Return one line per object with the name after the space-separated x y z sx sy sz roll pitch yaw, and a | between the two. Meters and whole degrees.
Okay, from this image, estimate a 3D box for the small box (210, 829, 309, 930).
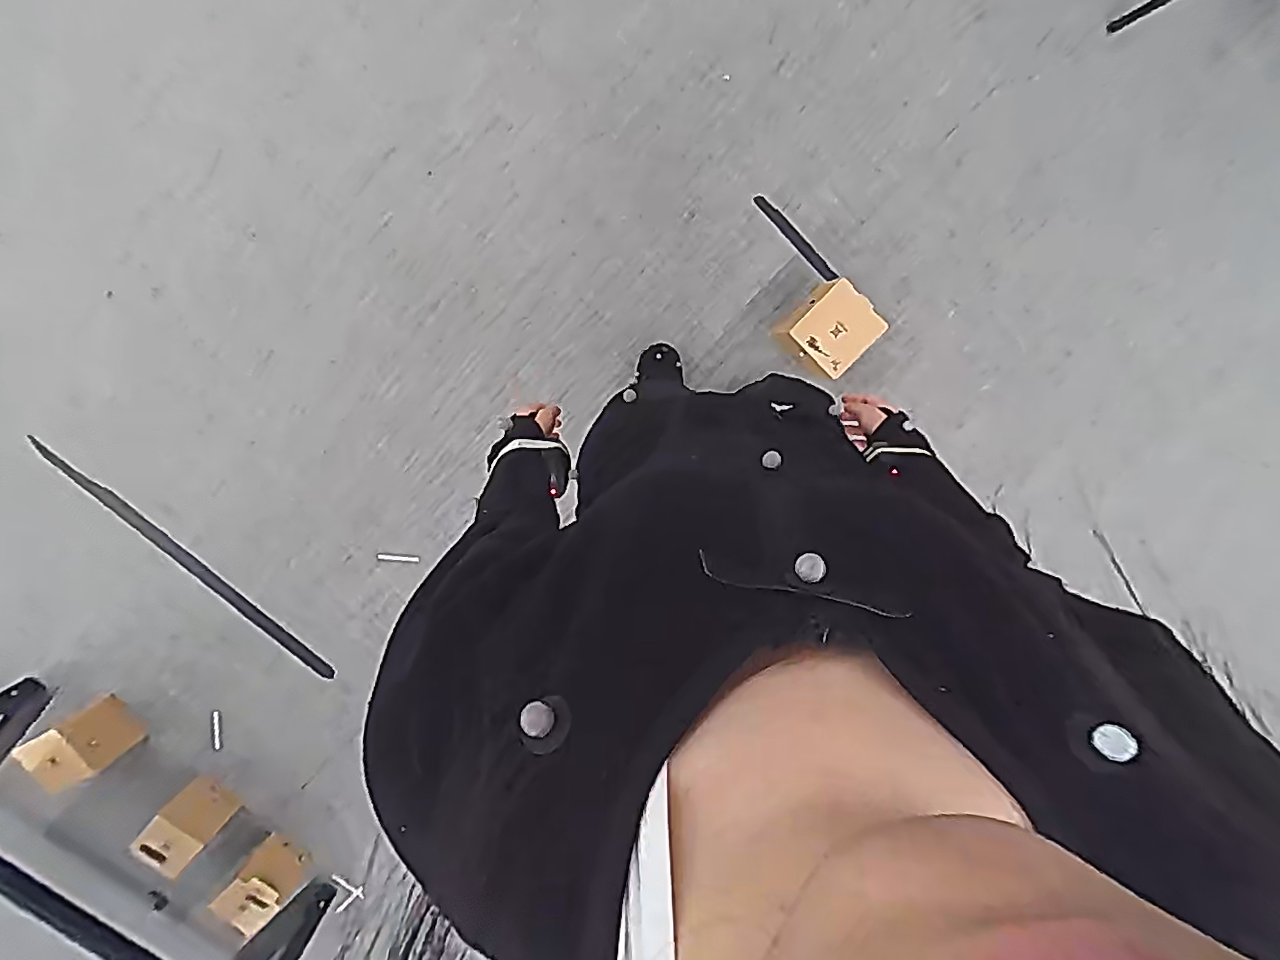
-1.215 1.283 1.746 0.179 0.176 0.168 -43 100 11 | small box

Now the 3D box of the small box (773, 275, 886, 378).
0.460 -0.377 1.343 0.168 0.176 0.179 42 99 -10 | small box

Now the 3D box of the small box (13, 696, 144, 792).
-1.673 0.779 1.622 0.168 0.176 0.179 -28 104 6 | small box
